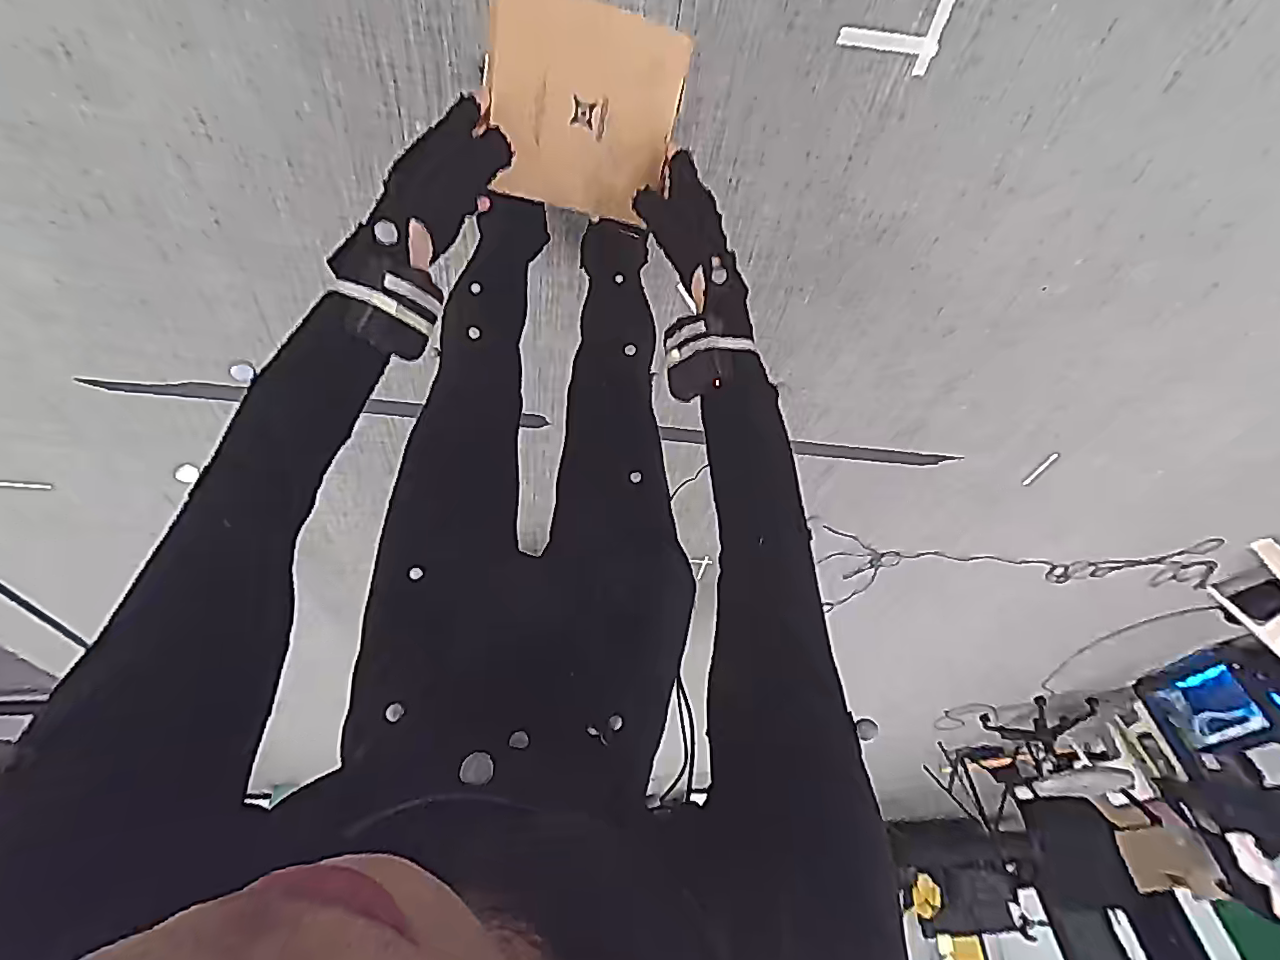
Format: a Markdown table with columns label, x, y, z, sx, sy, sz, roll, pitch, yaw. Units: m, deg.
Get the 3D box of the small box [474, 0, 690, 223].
| label | x | y | z | sx | sy | sz | roll | pitch | yaw |
| --- | --- | --- | --- | --- | --- | --- | --- | --- | --- |
| small box | -0.075 | -0.390 | 0.569 | 0.179 | 0.176 | 0.168 | 3 | 122 | -21 |
